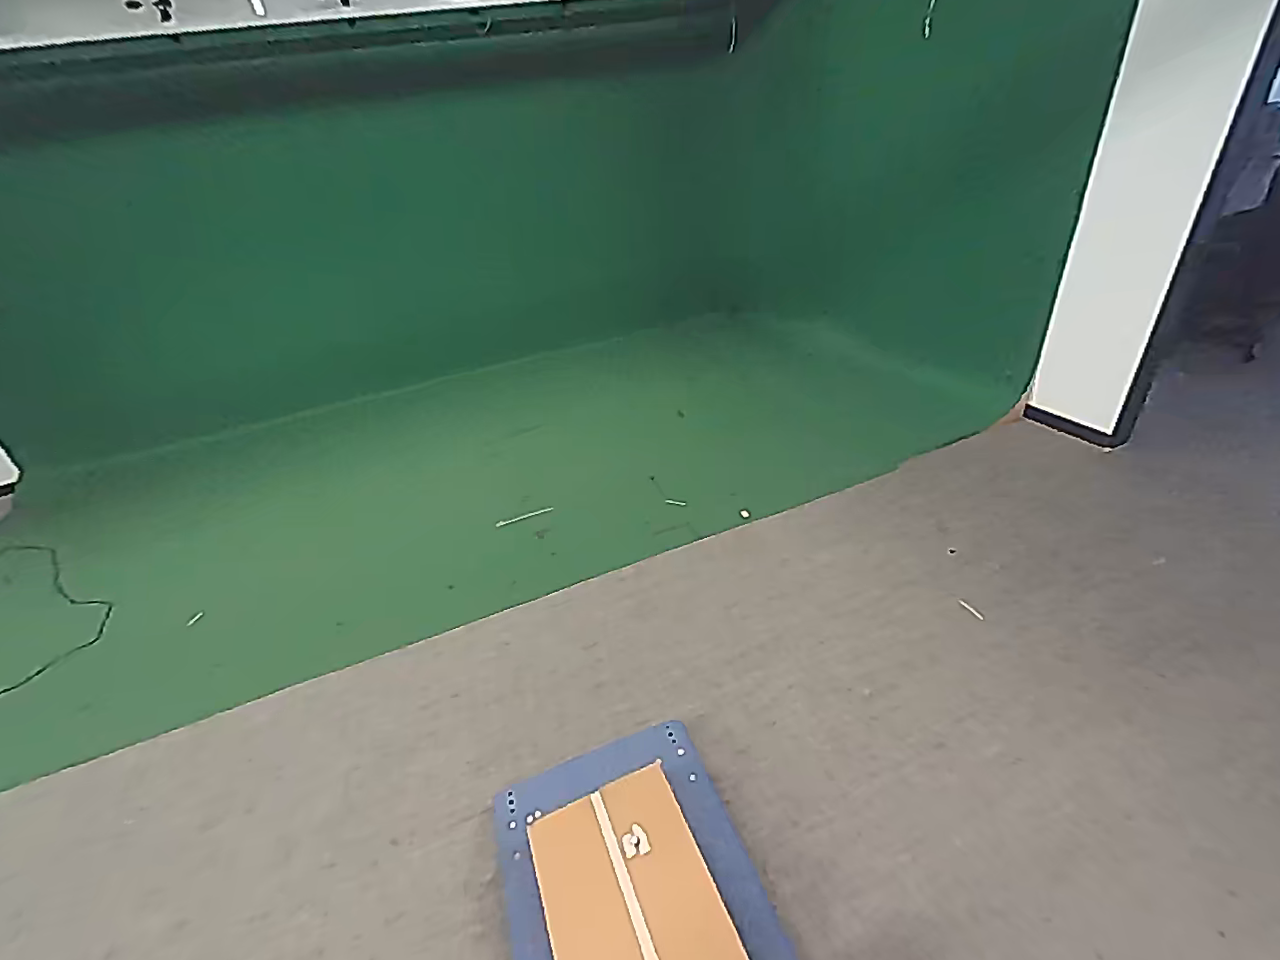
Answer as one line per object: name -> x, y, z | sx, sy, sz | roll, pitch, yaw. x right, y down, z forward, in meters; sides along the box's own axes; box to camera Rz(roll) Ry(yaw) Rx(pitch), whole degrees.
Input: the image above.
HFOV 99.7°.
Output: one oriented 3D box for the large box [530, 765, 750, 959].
large box -> 0.000, 0.912, 1.120 | 0.320, 0.320, 0.408 | -19, 33, -15
